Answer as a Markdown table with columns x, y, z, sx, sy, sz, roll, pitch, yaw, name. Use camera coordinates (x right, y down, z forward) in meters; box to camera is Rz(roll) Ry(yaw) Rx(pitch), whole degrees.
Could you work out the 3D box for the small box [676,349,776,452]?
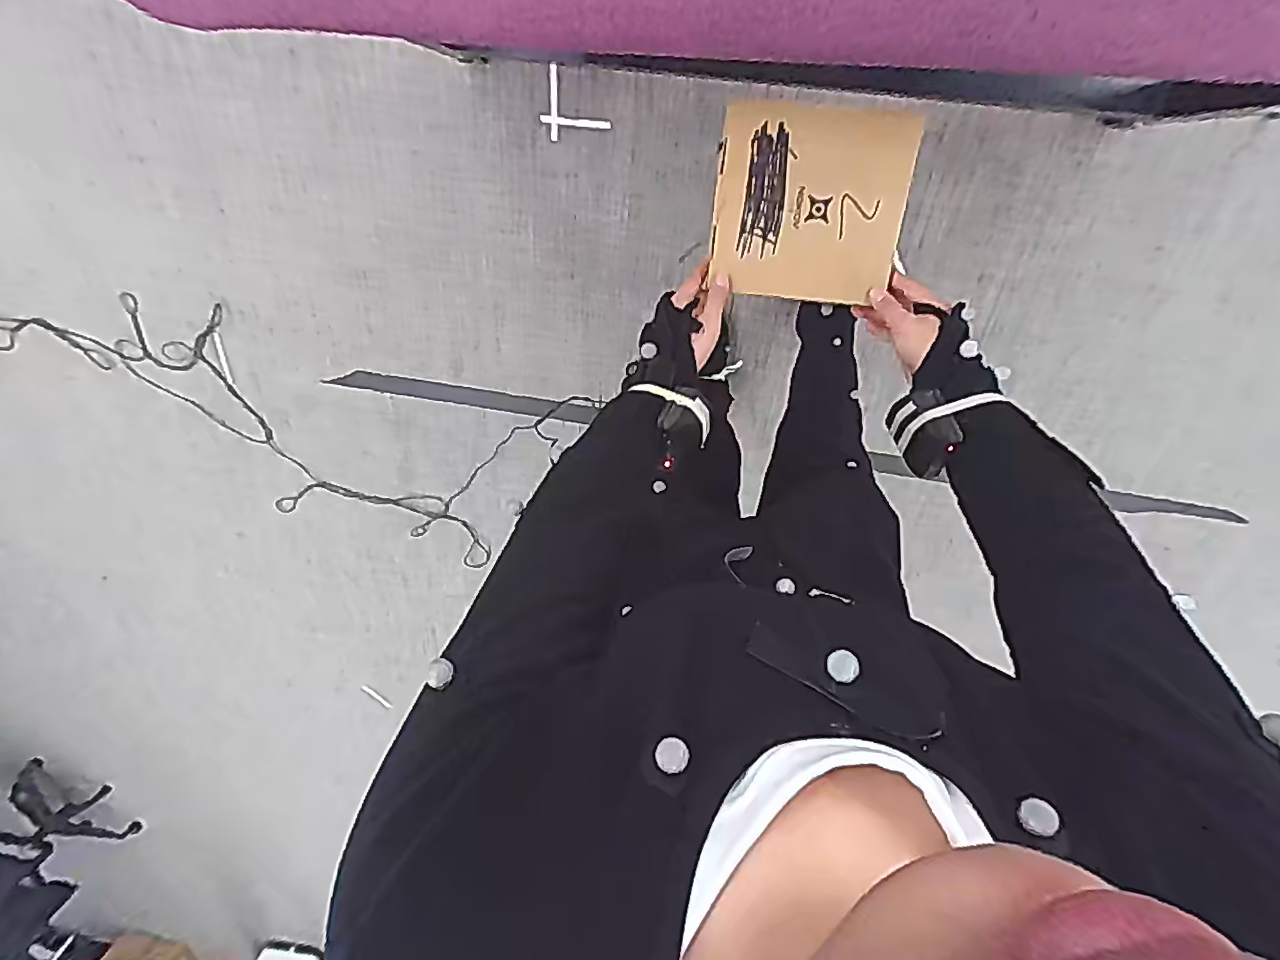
| x | y | z | sx | sy | sz | roll | pitch | yaw | name |
| --- | --- | --- | --- | --- | --- | --- | --- | --- | --- |
| 0.176 | -0.173 | 1.158 | 0.179 | 0.176 | 0.168 | 8 | 117 | 0 | small box |
